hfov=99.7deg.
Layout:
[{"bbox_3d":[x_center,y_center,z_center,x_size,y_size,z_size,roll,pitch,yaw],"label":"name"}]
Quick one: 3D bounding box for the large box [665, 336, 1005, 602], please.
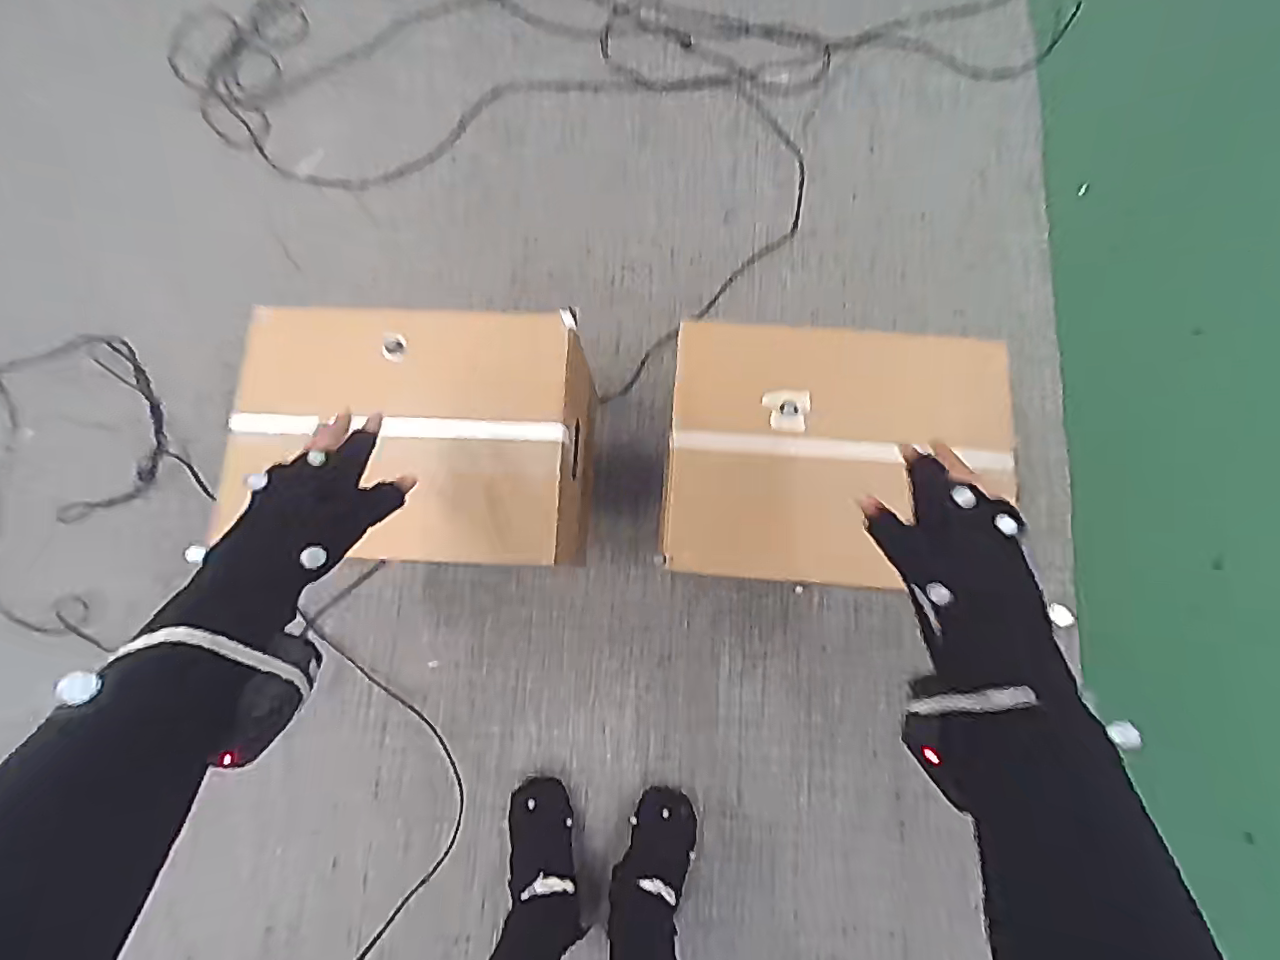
[{"bbox_3d":[0.250,0.000,0.811,0.408,0.320,0.320,5,81,3],"label":"large box"}]
